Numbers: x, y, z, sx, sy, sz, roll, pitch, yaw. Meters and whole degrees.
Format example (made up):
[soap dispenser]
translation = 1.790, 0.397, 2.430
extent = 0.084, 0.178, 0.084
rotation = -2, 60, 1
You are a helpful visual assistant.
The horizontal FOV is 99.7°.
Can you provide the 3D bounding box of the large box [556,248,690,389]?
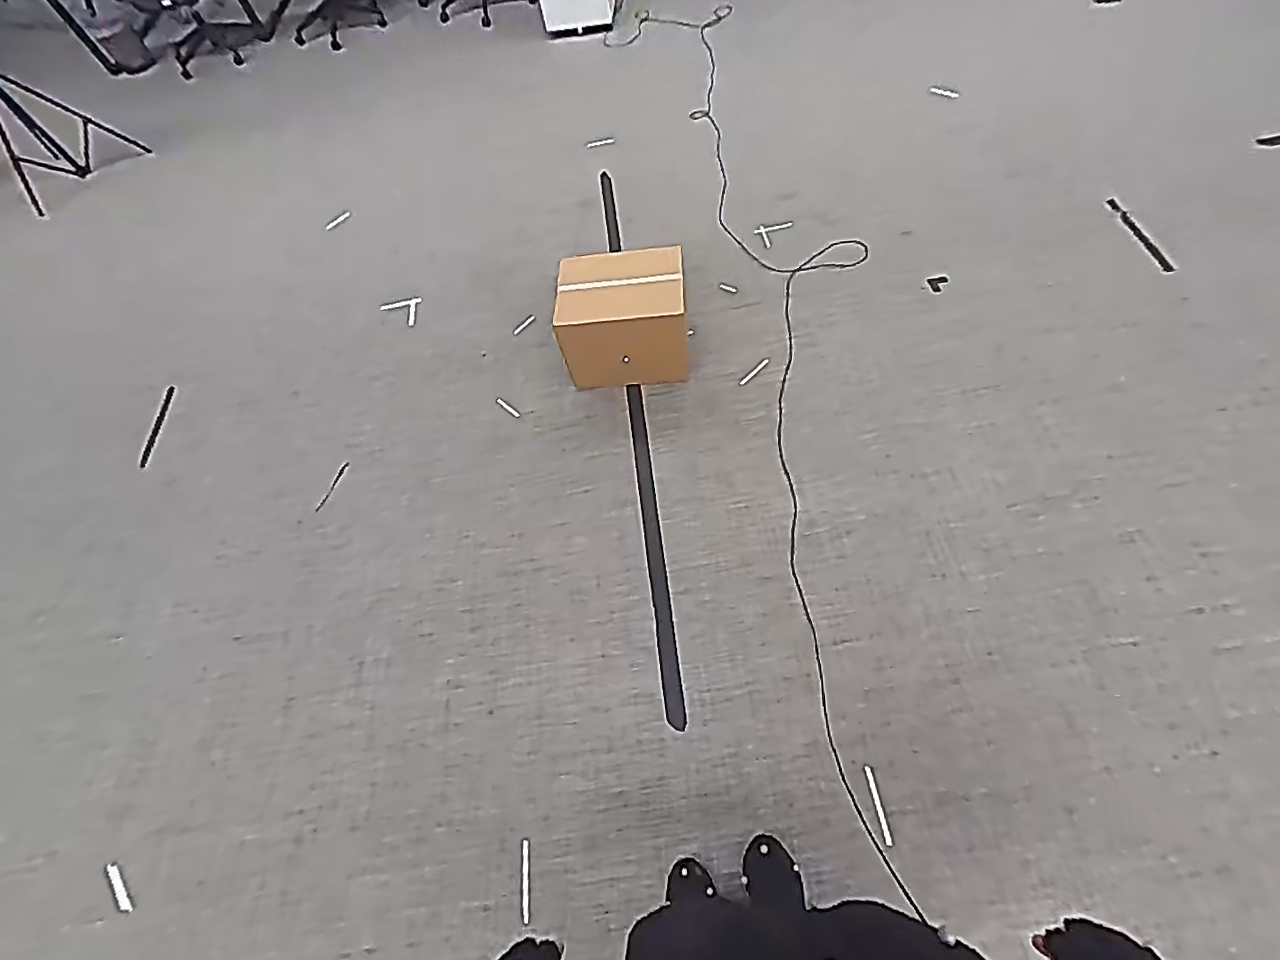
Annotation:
[large box]
translation = -0.044, -0.532, 1.822
extent = 0.408, 0.320, 0.320
rotation = -3, 61, 7
